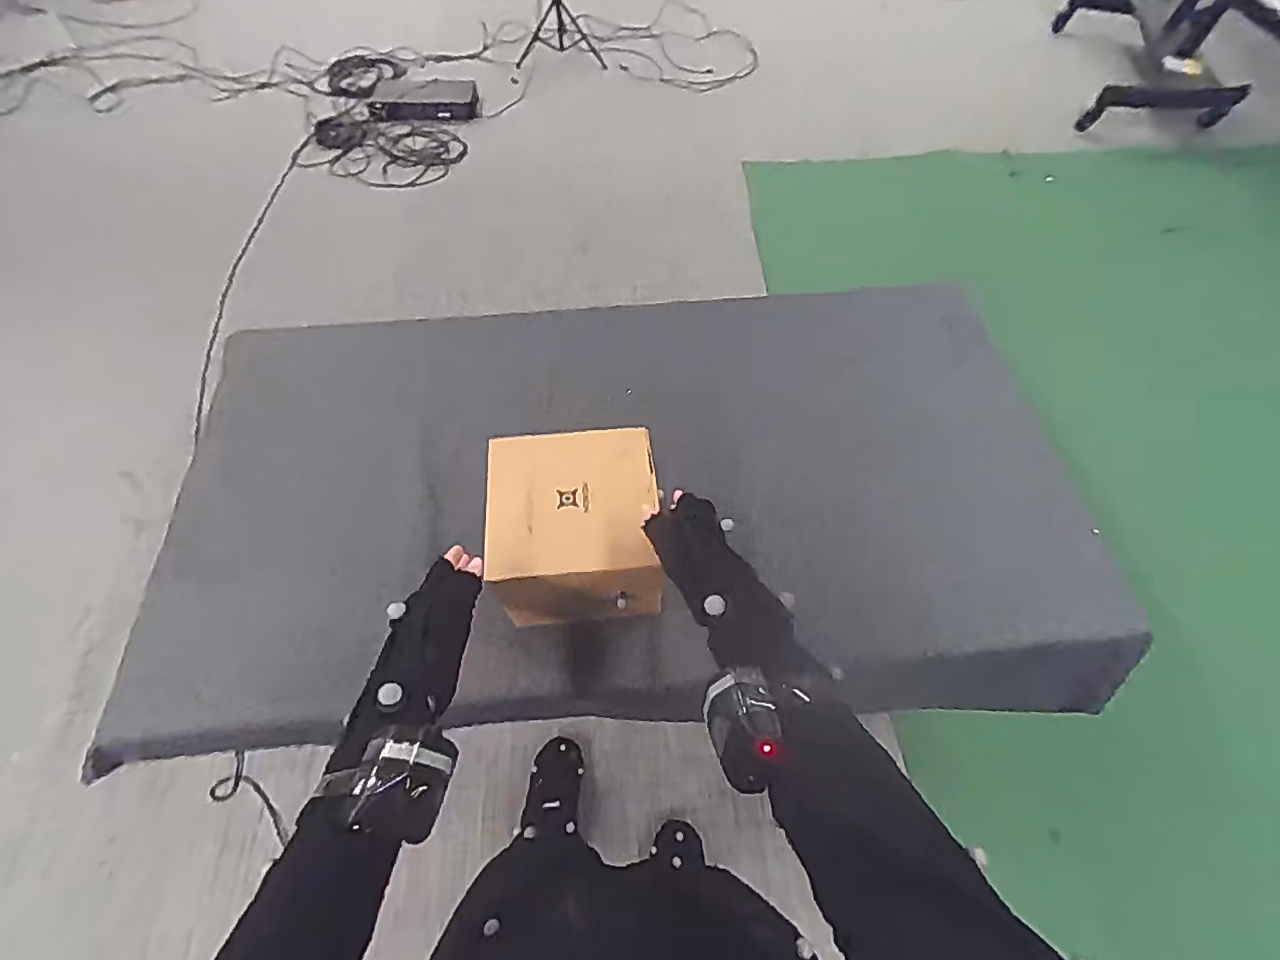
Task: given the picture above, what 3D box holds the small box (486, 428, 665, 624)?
[{"bbox_3d":[-0.069,0.060,0.630,0.179,0.176,0.168,-6,60,-2],"label":"small box"}]
